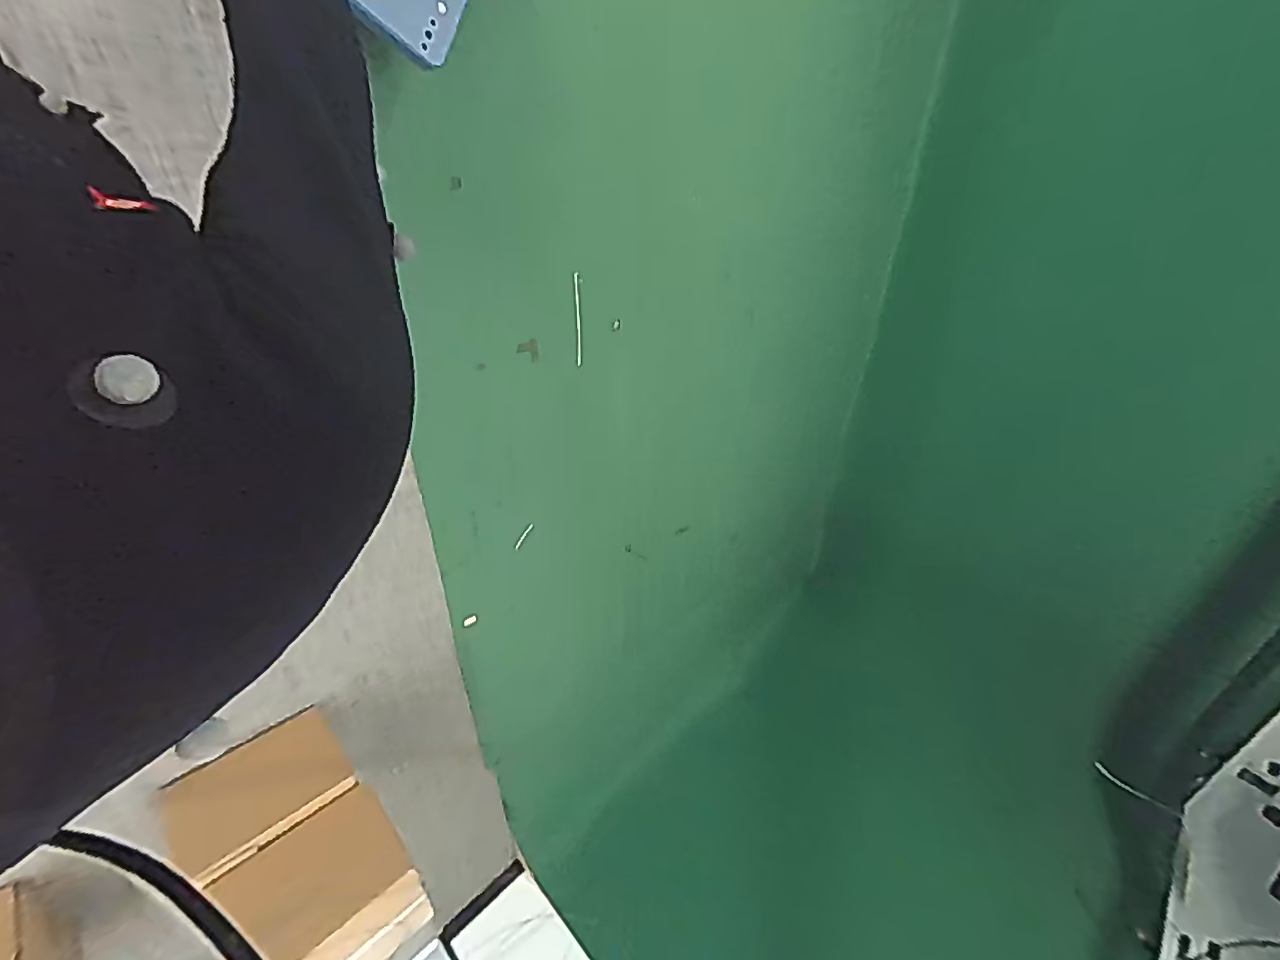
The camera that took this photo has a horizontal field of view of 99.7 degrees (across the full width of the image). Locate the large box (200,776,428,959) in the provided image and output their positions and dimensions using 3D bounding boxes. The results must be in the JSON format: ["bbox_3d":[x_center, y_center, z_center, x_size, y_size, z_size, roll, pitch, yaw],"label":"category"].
[{"bbox_3d":[-0.840,1.097,1.432,0.408,0.320,0.320,-26,134,-37],"label":"large box"}]
